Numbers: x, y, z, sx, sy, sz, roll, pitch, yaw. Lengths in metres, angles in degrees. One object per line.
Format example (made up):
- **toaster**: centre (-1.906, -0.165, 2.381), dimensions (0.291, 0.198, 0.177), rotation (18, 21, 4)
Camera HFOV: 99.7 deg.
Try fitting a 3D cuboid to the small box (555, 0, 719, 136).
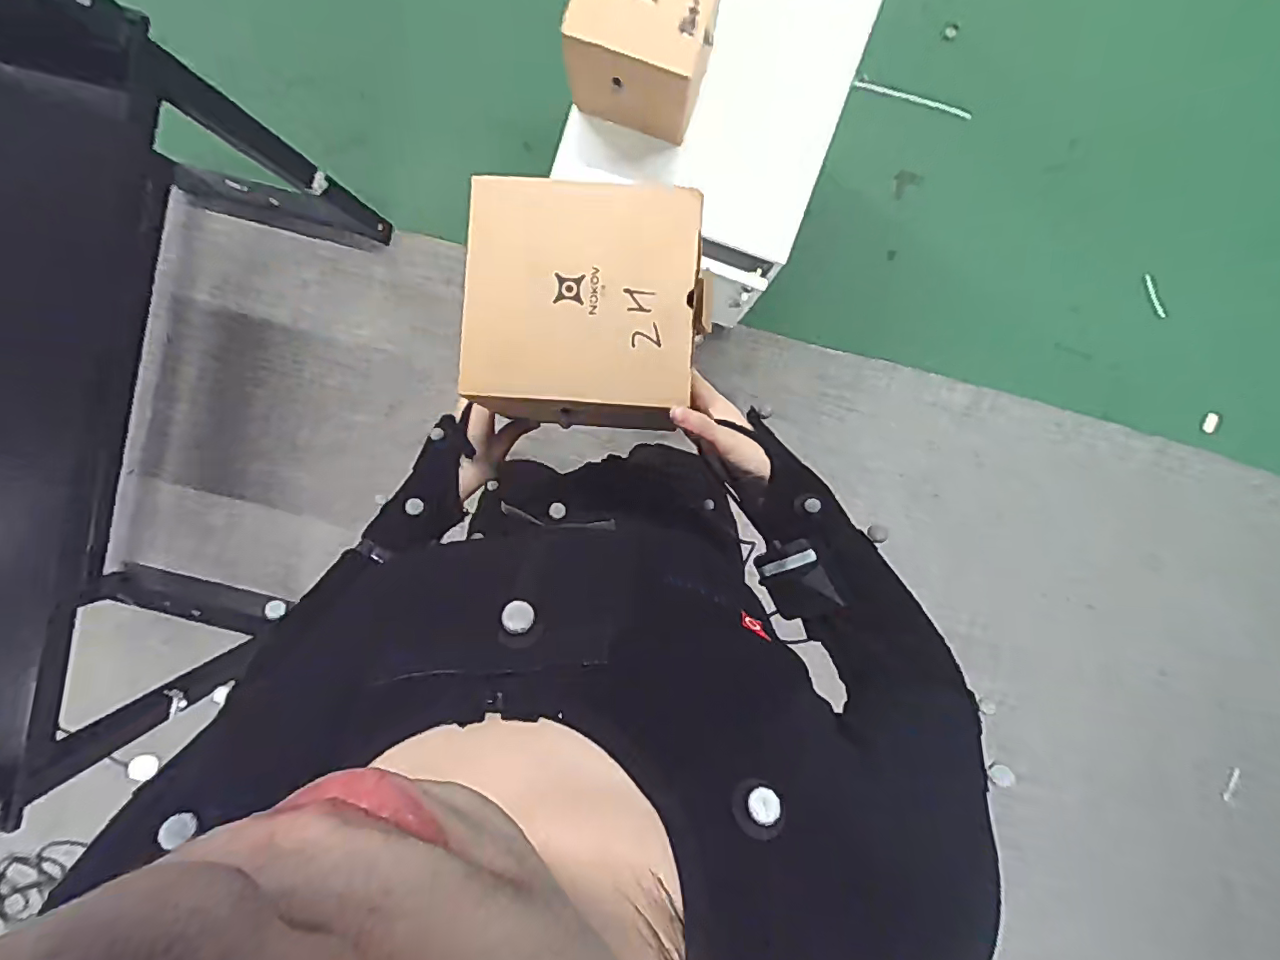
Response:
- **small box**: centre (0.002, -0.613, 0.740), dimensions (0.179, 0.176, 0.168), rotation (18, 96, -1)
